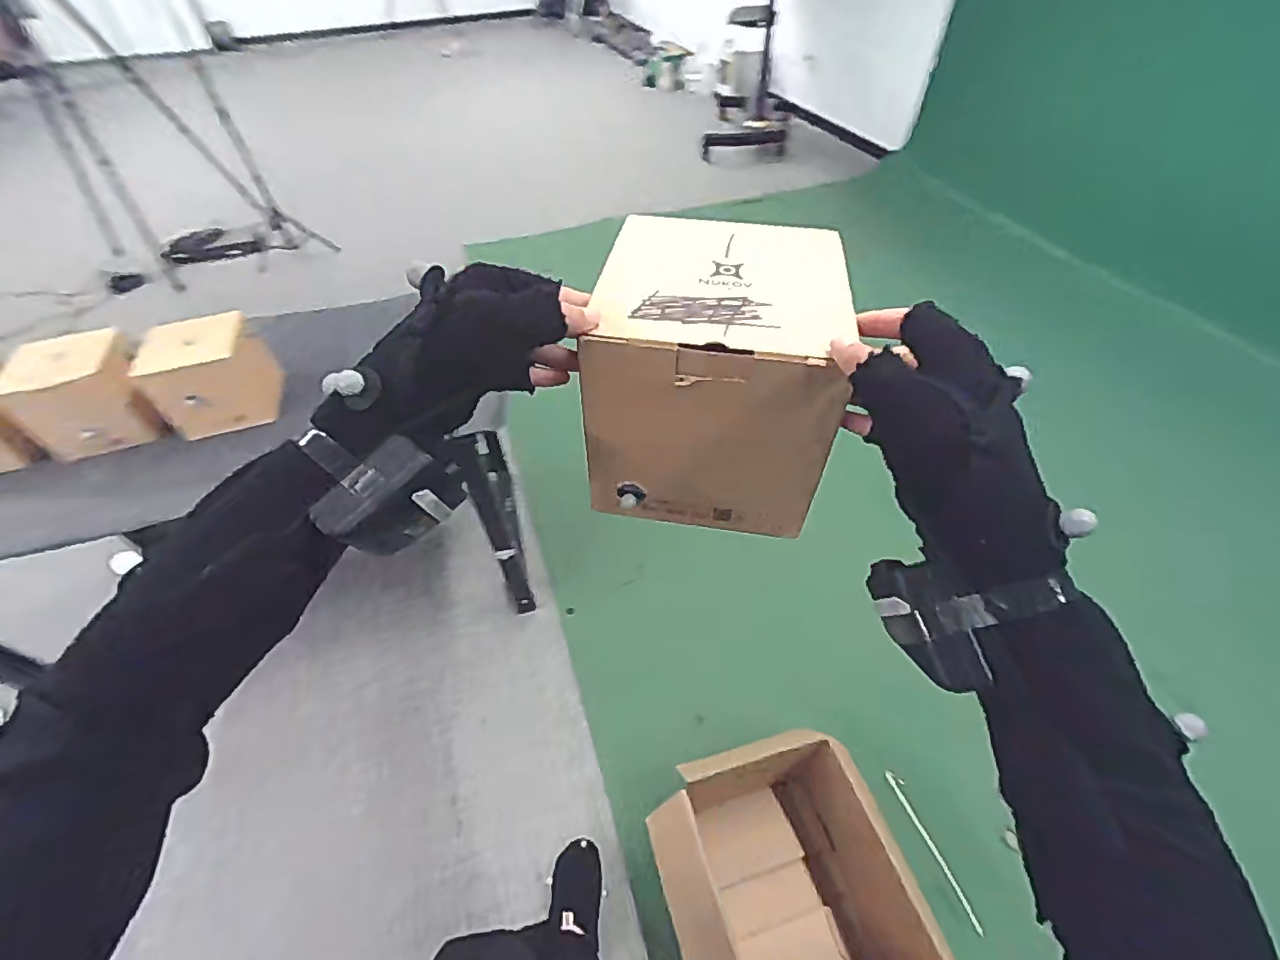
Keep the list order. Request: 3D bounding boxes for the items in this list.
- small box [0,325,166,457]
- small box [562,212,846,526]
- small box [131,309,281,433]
[{"bbox_3d":[-1.078,-0.175,1.065,0.168,0.176,0.179,-17,50,-12],"label":"small box"},{"bbox_3d":[0.048,-0.084,0.419,0.168,0.176,0.179,6,47,5],"label":"small box"},{"bbox_3d":[-0.859,-0.214,1.094,0.168,0.176,0.179,-16,49,-12],"label":"small box"}]
